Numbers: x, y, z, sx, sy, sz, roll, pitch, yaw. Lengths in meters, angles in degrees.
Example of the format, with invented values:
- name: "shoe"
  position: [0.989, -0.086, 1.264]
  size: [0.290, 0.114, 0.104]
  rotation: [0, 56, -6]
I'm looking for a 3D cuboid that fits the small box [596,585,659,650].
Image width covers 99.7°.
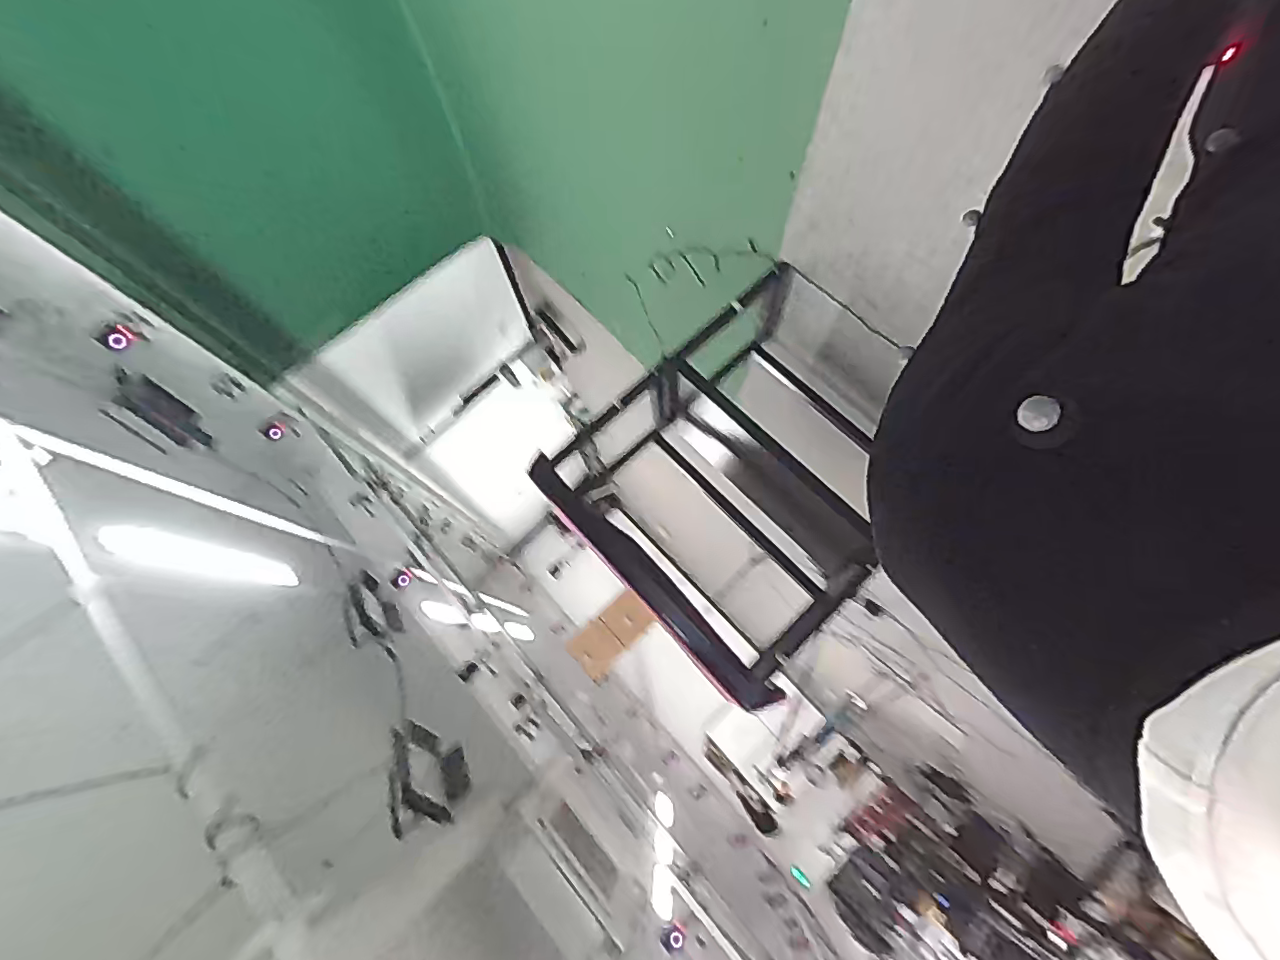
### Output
- name: "small box"
  position: [-0.043, 0.526, 2.062]
  size: [0.179, 0.176, 0.168]
  rotation: [47, 169, 13]

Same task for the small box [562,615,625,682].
- name: "small box"
  position: [-0.168, 0.628, 2.035]
  size: [0.179, 0.176, 0.168]
  rotation: [48, 170, 12]
